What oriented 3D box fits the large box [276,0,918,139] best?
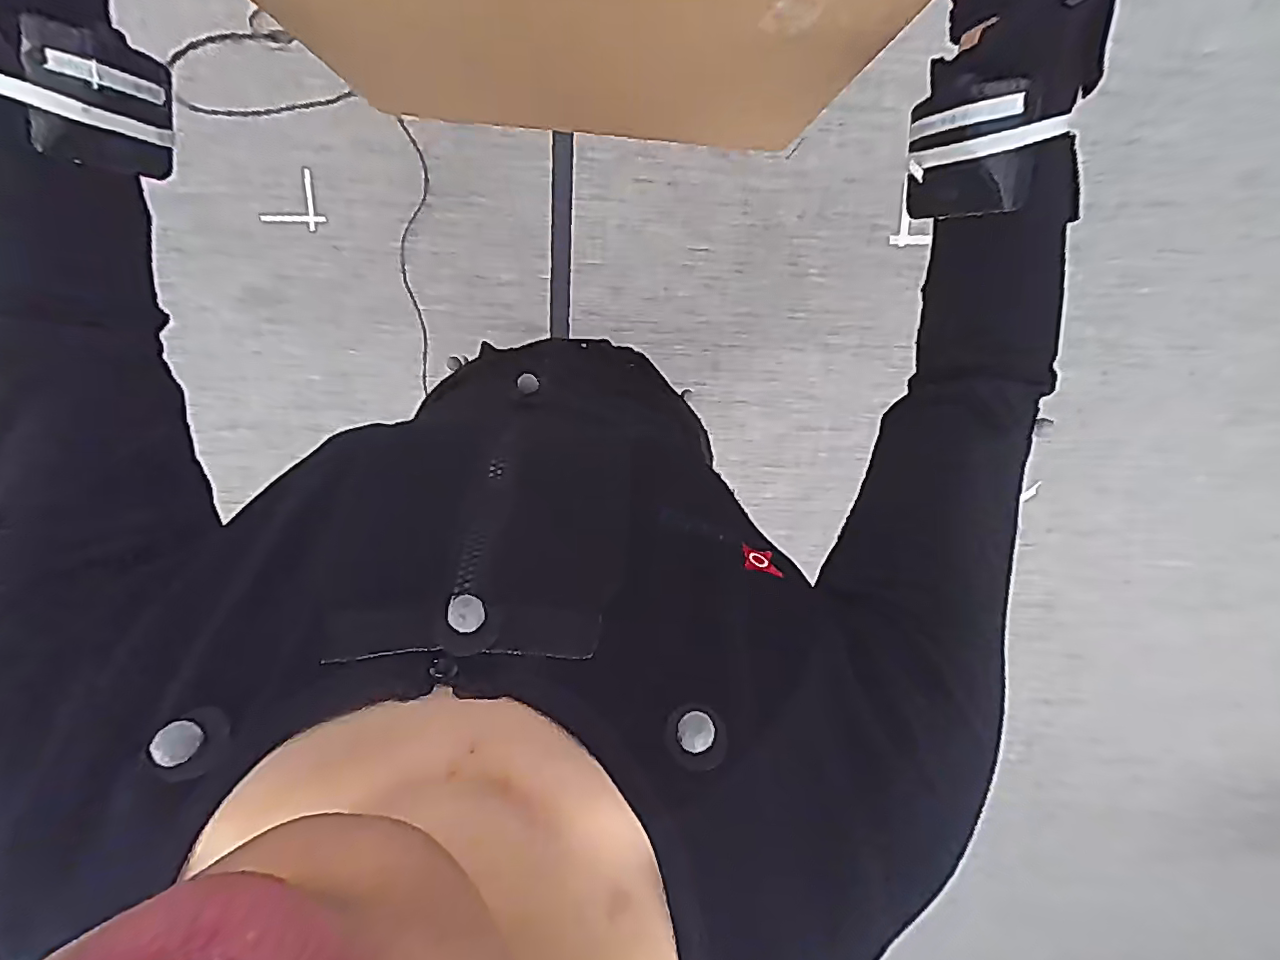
[{"bbox_3d":[-0.033,-0.451,0.349,0.408,0.320,0.320,2,107,-4],"label":"large box"}]
